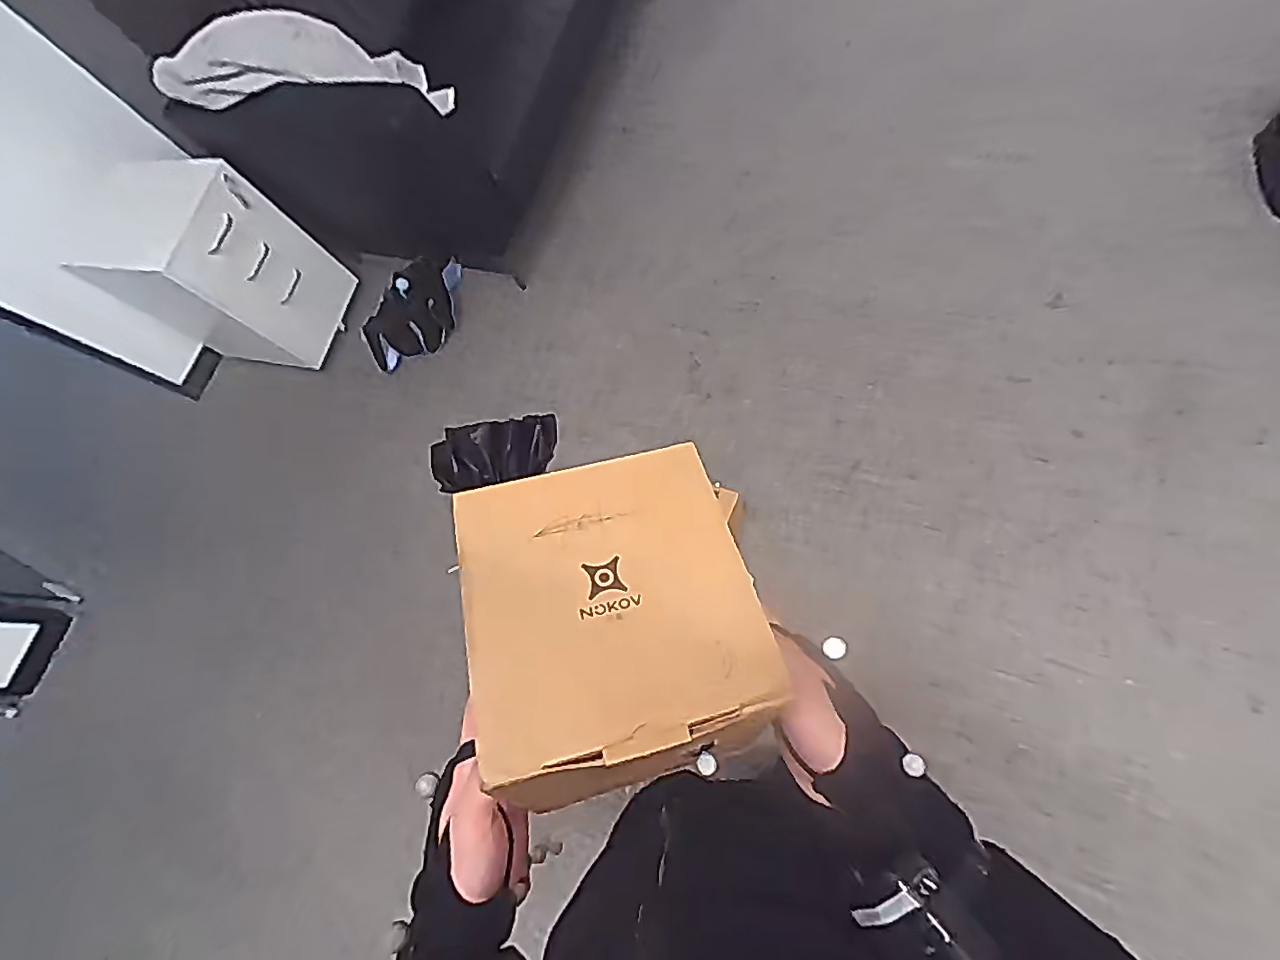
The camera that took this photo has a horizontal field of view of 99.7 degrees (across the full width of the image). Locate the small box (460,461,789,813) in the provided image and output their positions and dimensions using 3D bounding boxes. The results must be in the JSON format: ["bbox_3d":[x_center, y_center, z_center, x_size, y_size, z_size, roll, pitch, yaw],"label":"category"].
[{"bbox_3d":[-0.018,0.118,0.385,0.168,0.176,0.179,-13,54,-10],"label":"small box"}]
